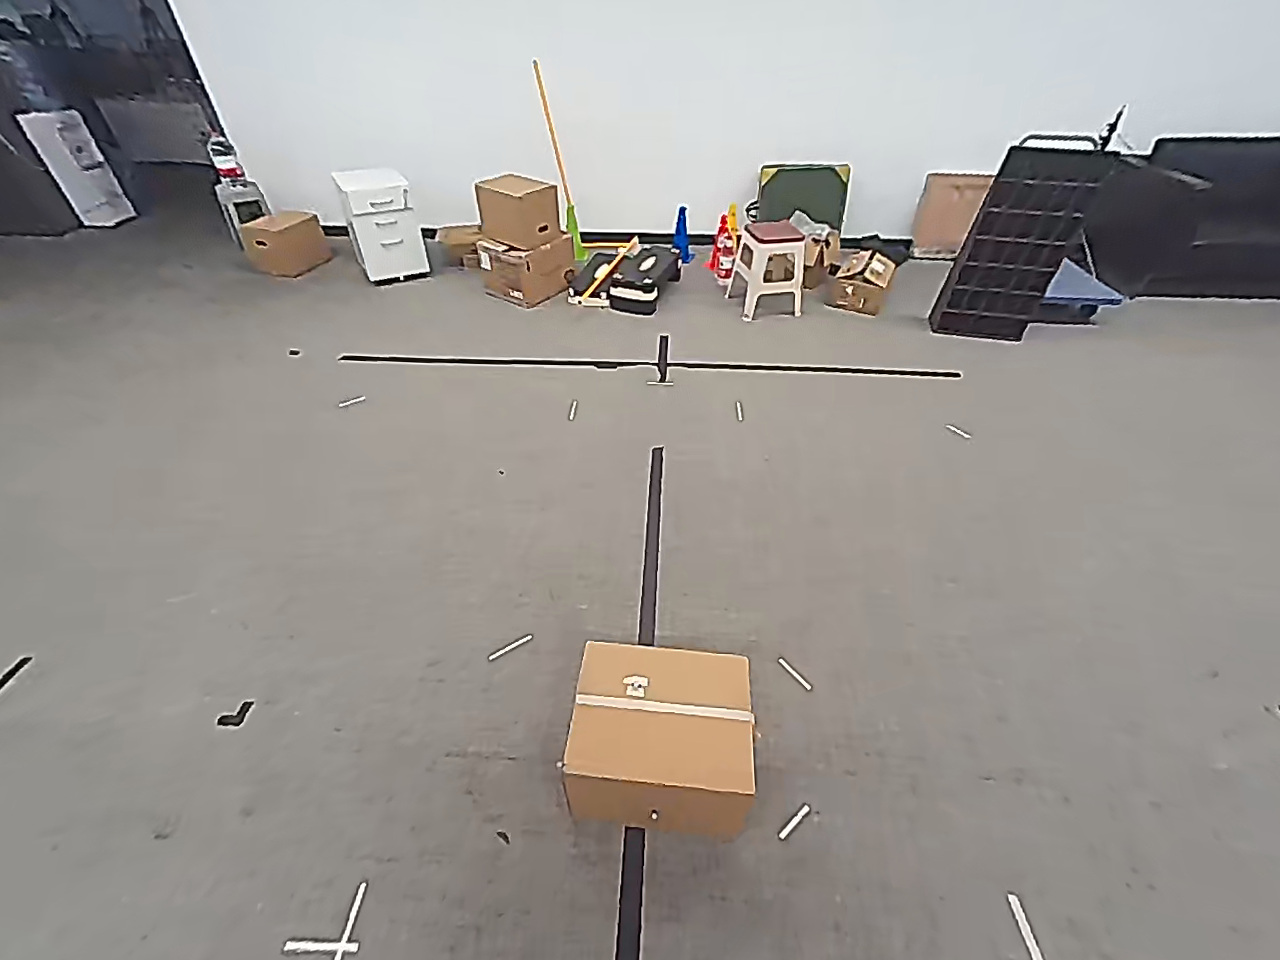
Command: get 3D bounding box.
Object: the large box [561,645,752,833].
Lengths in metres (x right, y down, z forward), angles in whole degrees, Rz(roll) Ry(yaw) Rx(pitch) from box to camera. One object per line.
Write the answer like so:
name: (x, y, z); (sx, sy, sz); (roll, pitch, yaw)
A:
large box: (0.047, 0.635, 1.329); (0.408, 0.320, 0.320); (4, 41, 4)
